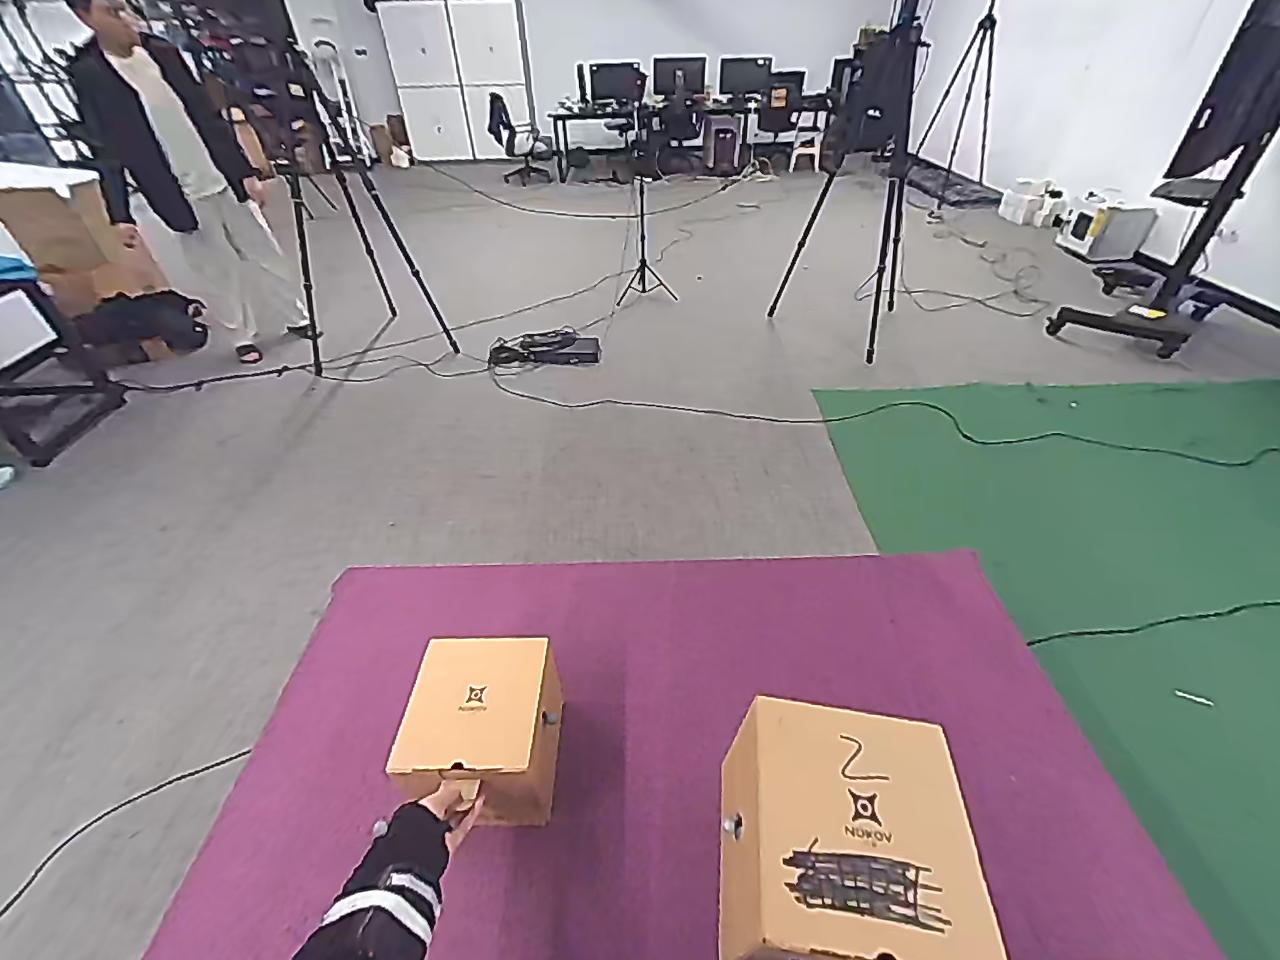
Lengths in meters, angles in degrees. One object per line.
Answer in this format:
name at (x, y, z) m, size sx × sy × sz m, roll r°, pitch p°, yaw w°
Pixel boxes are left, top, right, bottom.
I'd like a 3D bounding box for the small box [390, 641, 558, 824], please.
small box at (-0.209, 0.343, 0.741) m, size 0.168 × 0.176 × 0.179 m, roll -1°, pitch 40°, yaw 1°
